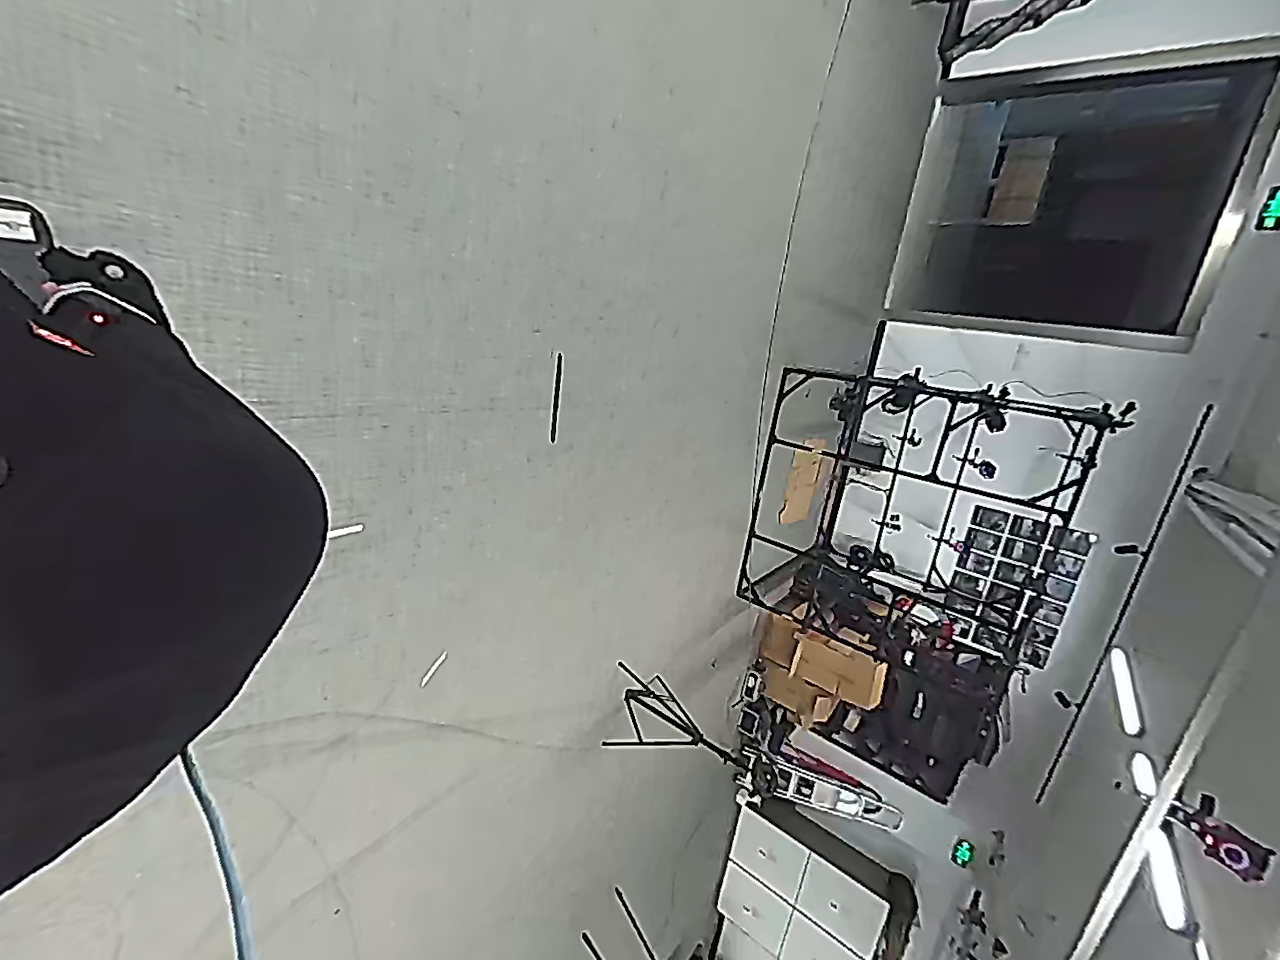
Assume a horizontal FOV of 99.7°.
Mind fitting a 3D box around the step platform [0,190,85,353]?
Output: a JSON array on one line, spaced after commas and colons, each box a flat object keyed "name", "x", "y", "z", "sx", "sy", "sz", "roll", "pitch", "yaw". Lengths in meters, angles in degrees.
[{"name": "step platform", "x": -1.332, "y": -0.352, "z": 0.819, "sx": 0.684, "sy": 0.204, "sz": 0.286, "roll": -15, "pitch": 118, "yaw": -53}]
